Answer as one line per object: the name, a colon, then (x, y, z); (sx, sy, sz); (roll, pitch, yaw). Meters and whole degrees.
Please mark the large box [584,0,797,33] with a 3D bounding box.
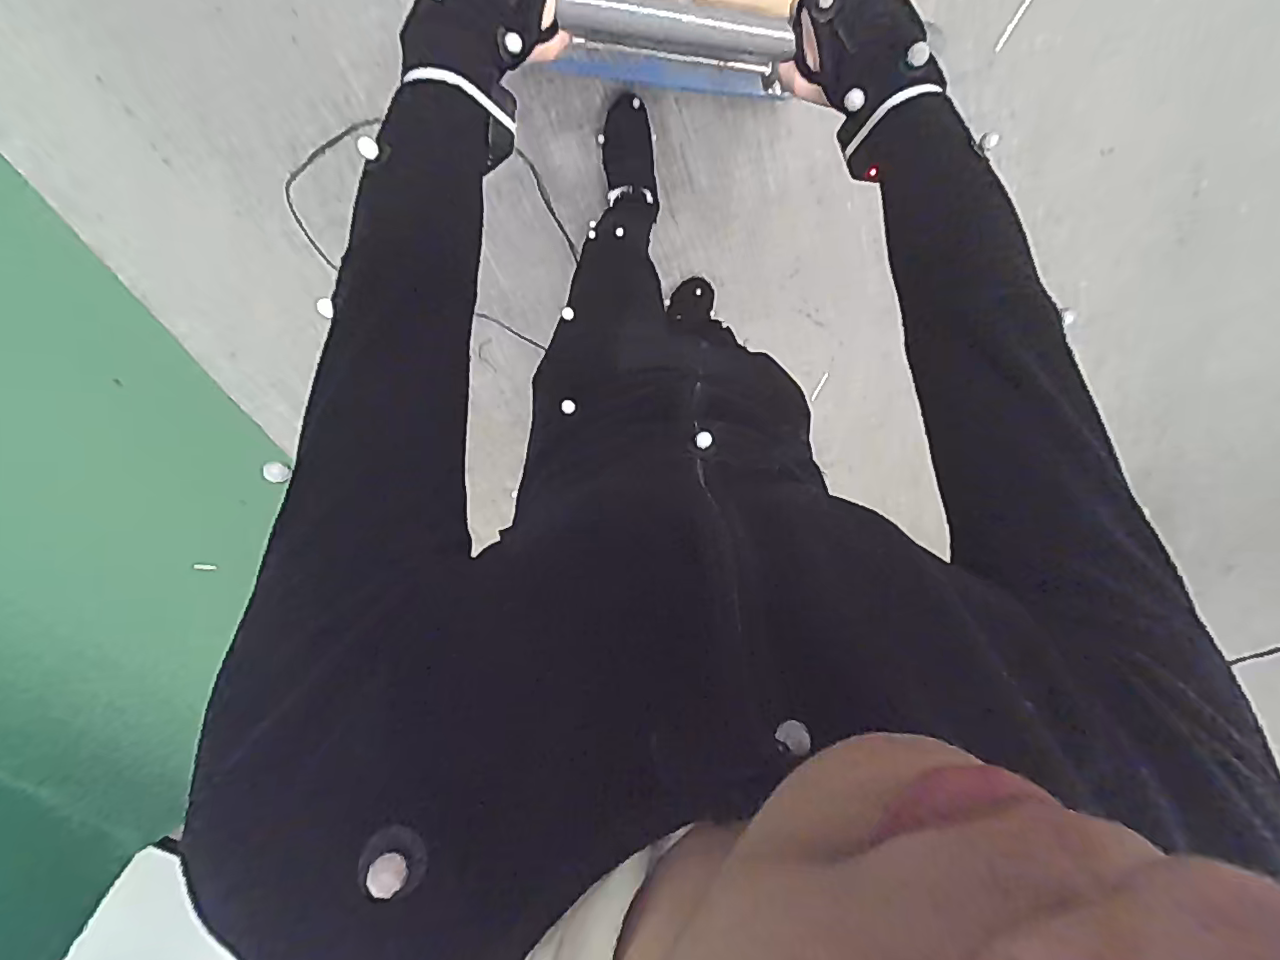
large box: (0.079, -0.901, 0.747); (0.320, 0.320, 0.408); (4, 126, -5)
